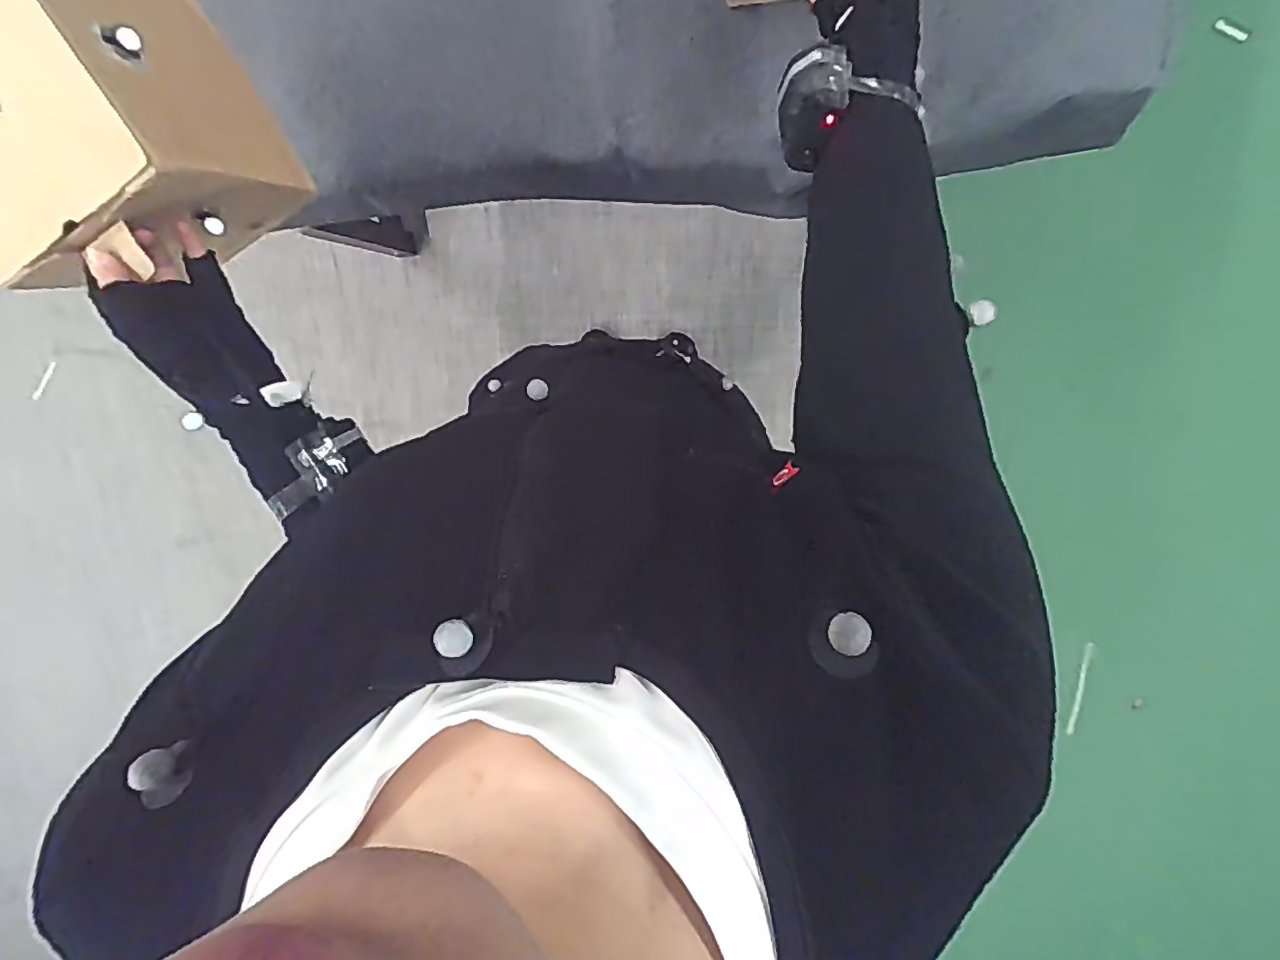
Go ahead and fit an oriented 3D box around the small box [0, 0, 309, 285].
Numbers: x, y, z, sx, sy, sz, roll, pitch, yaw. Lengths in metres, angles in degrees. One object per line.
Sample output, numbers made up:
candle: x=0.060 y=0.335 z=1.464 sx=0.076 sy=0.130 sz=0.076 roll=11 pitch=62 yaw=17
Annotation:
small box: x=-0.400 y=-0.268 z=0.400 sx=0.168 sy=0.176 sz=0.179 roll=-24 pitch=108 yaw=14
